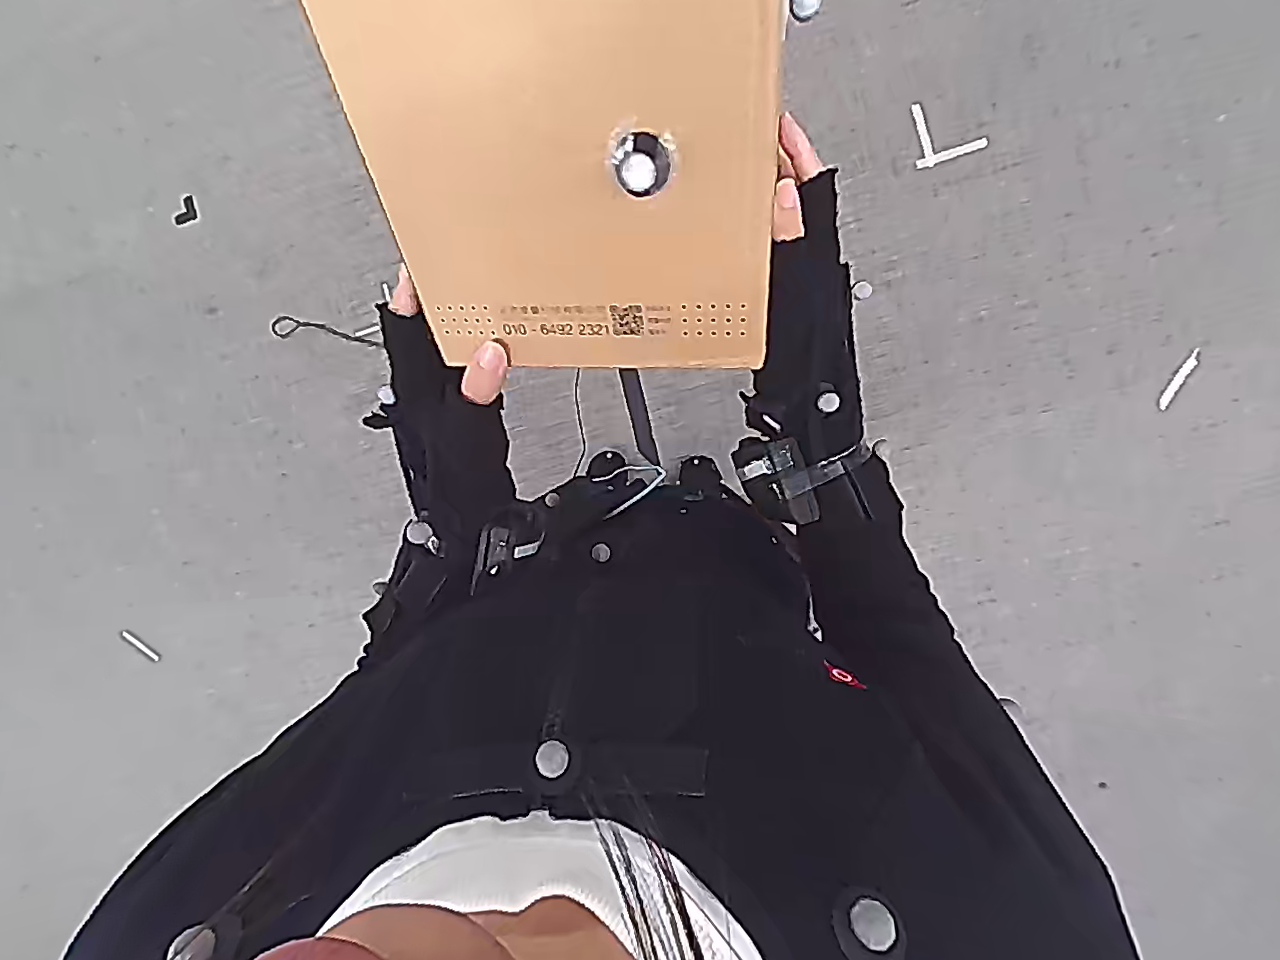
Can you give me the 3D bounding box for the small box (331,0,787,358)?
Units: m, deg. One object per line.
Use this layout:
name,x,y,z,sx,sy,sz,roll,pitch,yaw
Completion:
small box,-0.010,-0.178,0.289,0.168,0.179,0.176,4,134,13
